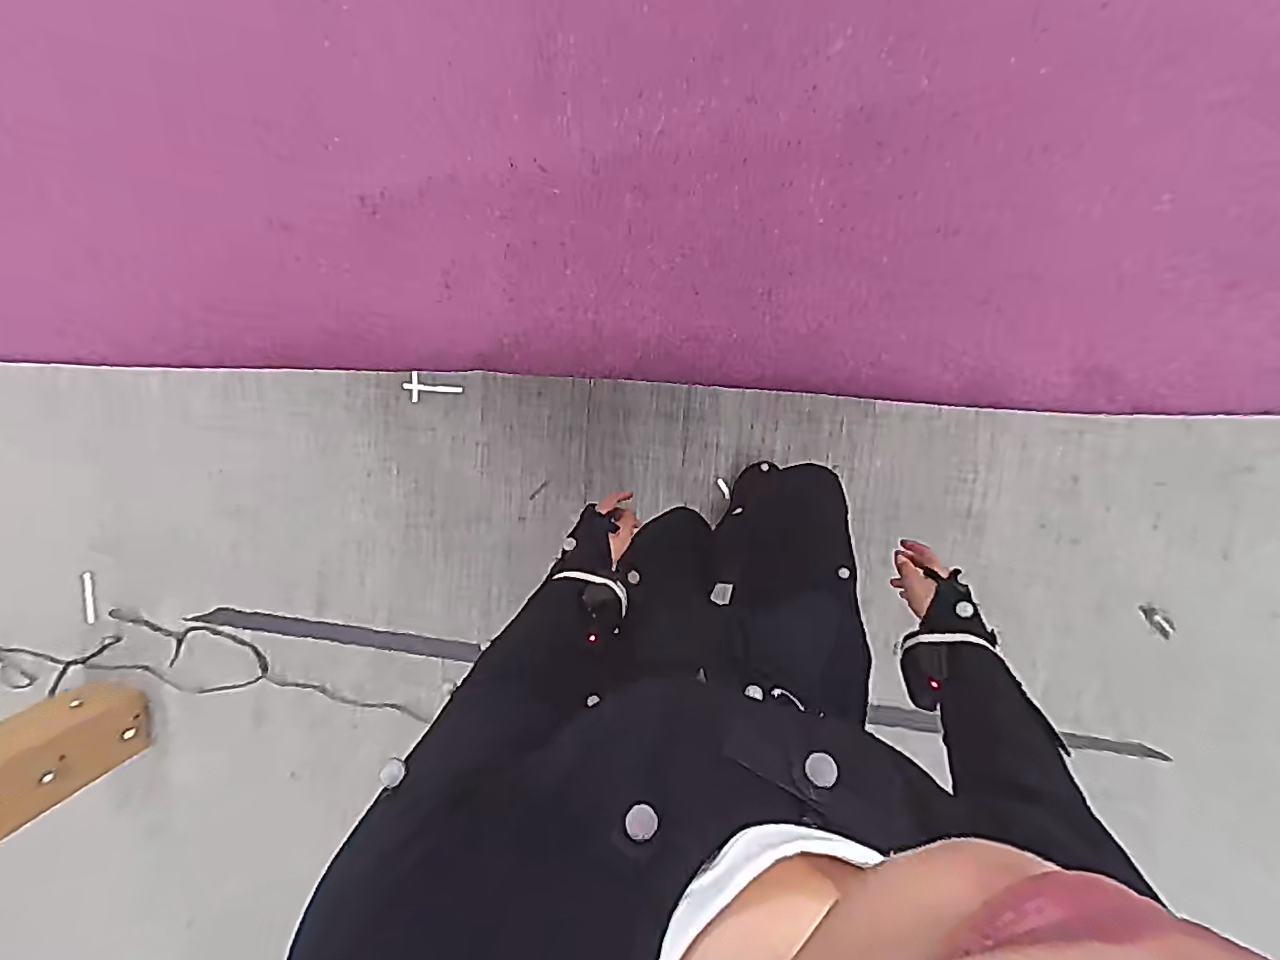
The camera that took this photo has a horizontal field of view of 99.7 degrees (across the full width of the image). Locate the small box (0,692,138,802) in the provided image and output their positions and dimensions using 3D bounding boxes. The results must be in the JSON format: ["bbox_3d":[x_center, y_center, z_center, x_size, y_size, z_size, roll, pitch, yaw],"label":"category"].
[{"bbox_3d":[-1.375,0.634,1.305,0.179,0.176,0.168,5,99,5],"label":"small box"}]

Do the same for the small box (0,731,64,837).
[{"bbox_3d":[-1.394,0.657,1.143,0.179,0.176,0.168,3,99,6],"label":"small box"}]
